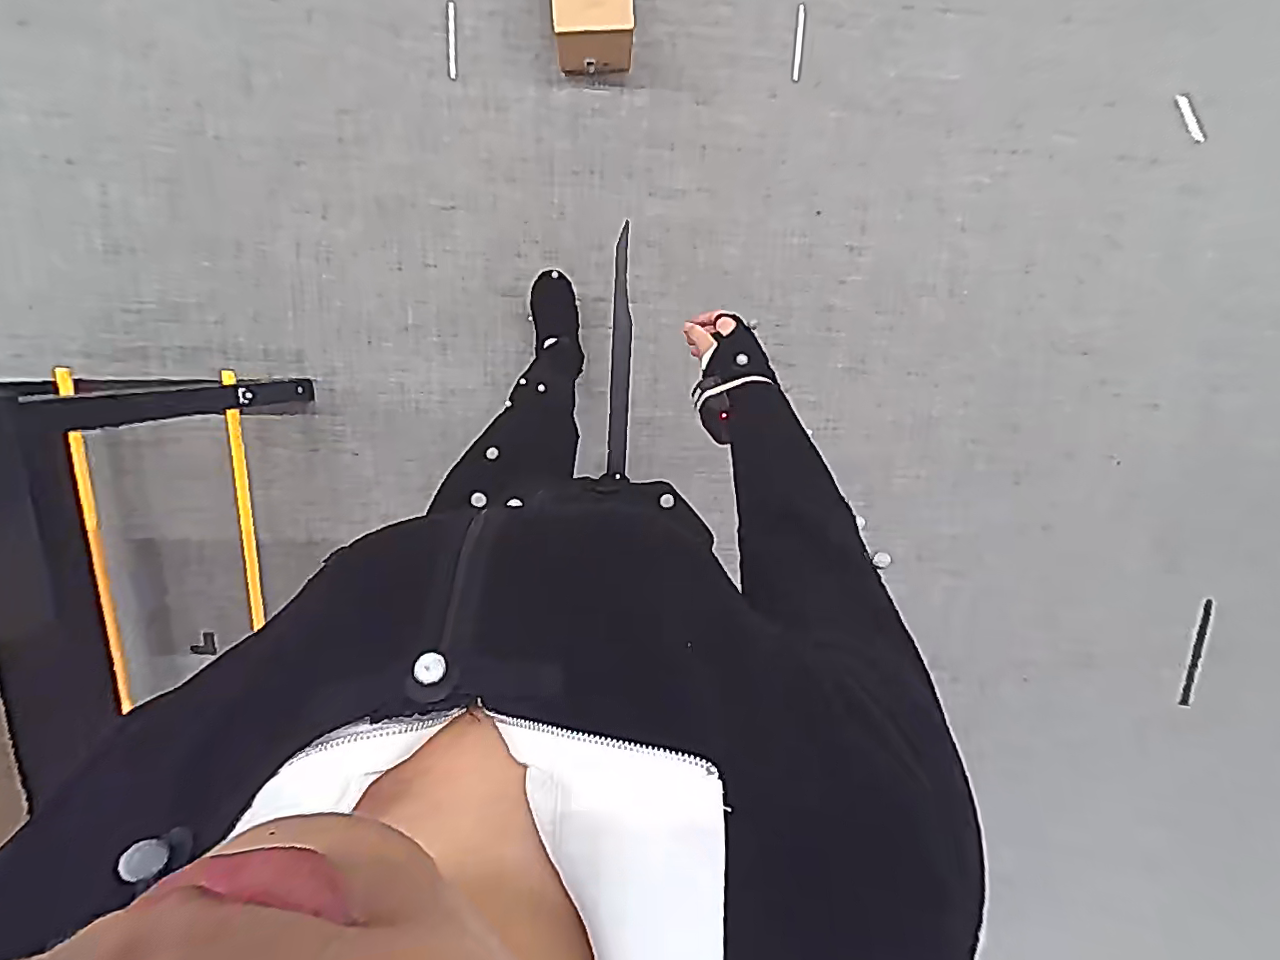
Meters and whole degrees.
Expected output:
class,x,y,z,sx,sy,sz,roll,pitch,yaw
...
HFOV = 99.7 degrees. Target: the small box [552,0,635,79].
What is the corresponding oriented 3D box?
class,x,y,z,sx,sy,sz,roll,pitch,yaw
small box,-0.101,-1.005,1.163,0.168,0.176,0.179,-5,104,-1
